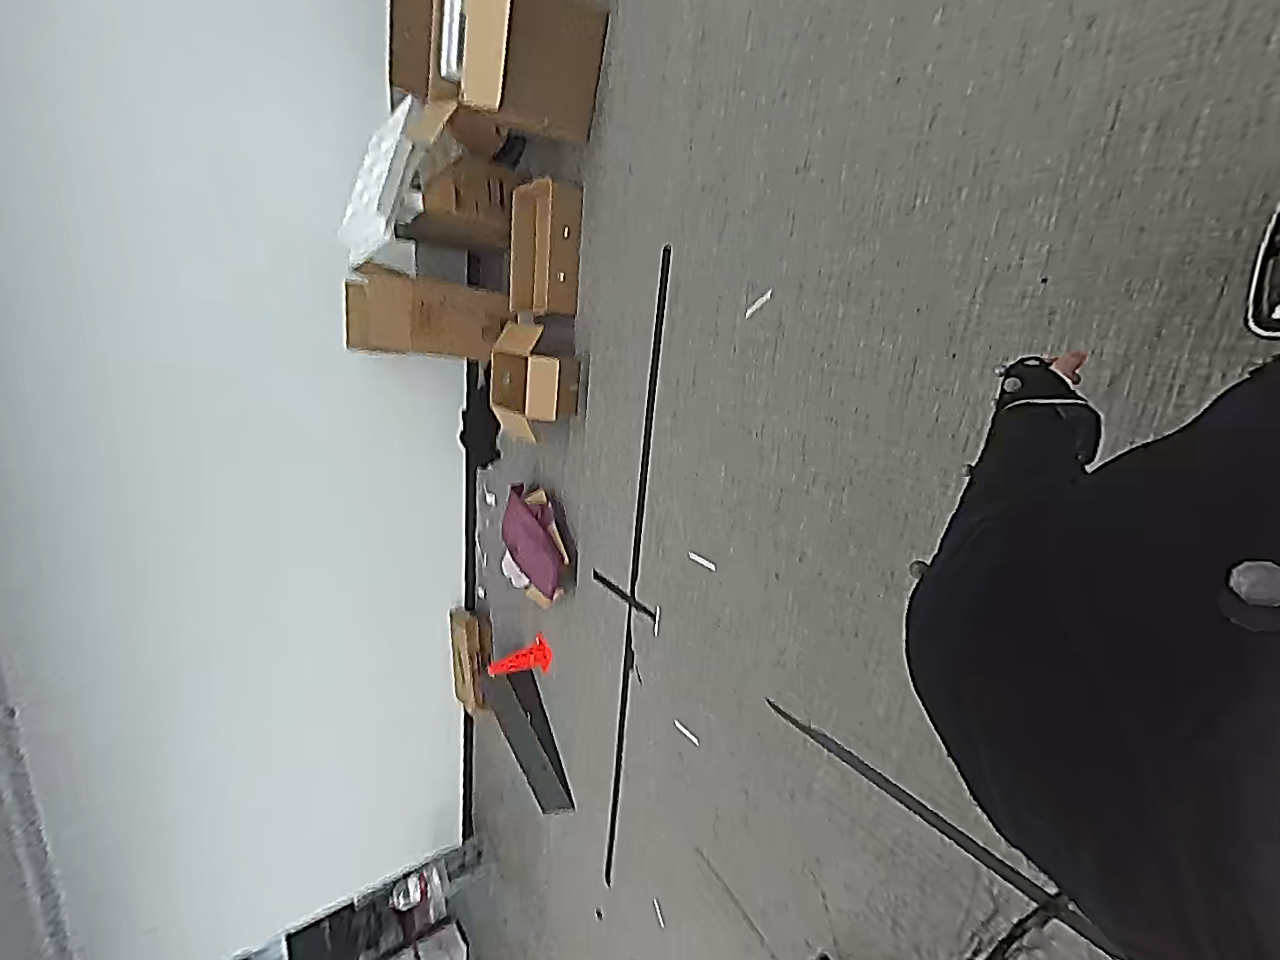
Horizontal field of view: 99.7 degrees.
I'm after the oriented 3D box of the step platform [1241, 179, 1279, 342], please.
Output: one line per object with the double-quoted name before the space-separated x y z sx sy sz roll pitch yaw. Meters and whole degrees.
"step platform" 1.117 -0.272 0.533 0.684 0.204 0.286 20 111 48
